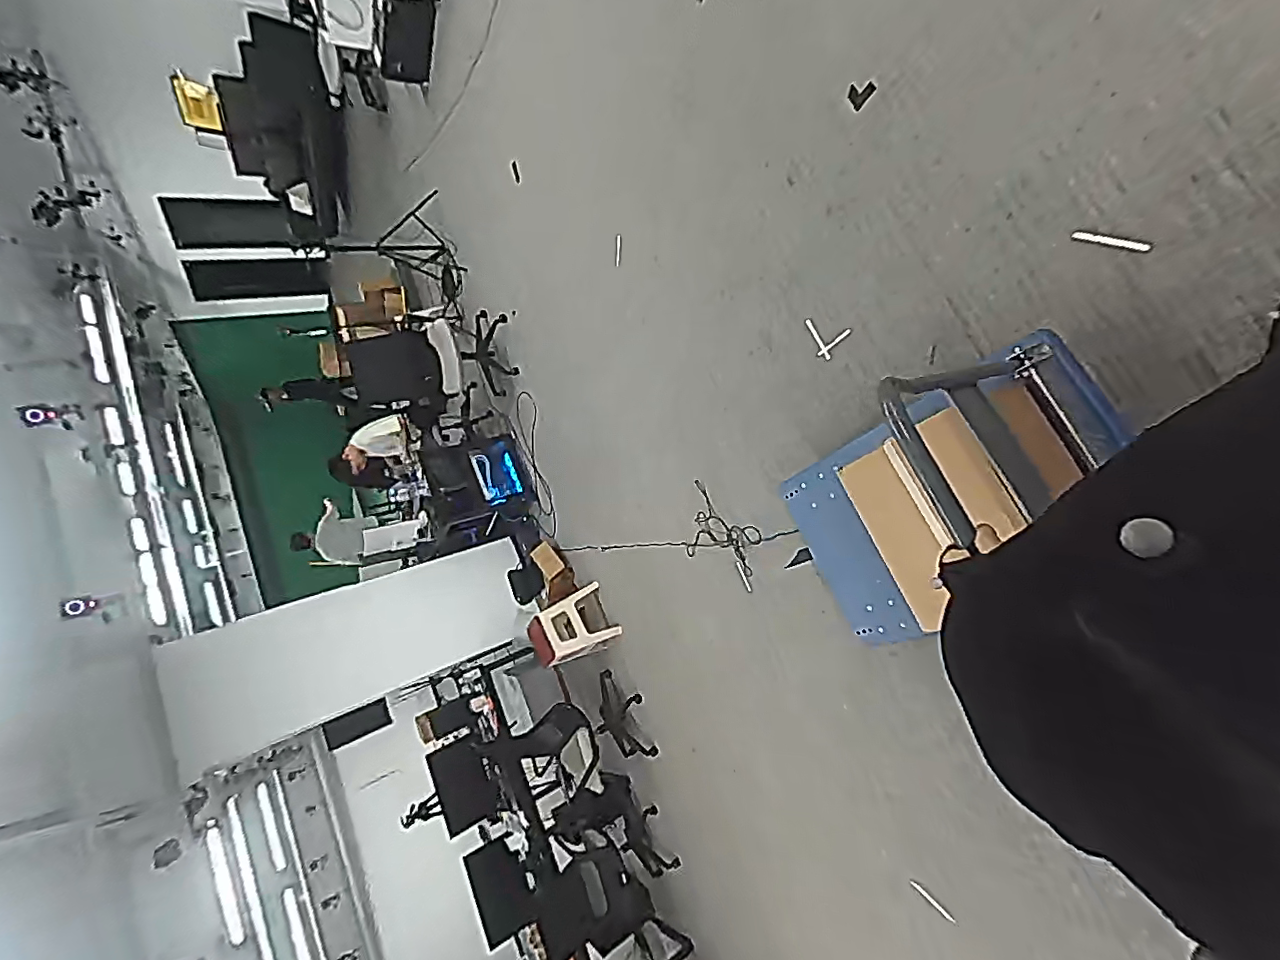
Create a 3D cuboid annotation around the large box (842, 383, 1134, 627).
[{"bbox_3d":[0.738,0.053,1.177,0.320,0.320,0.408,-43,67,54],"label":"large box"}]
